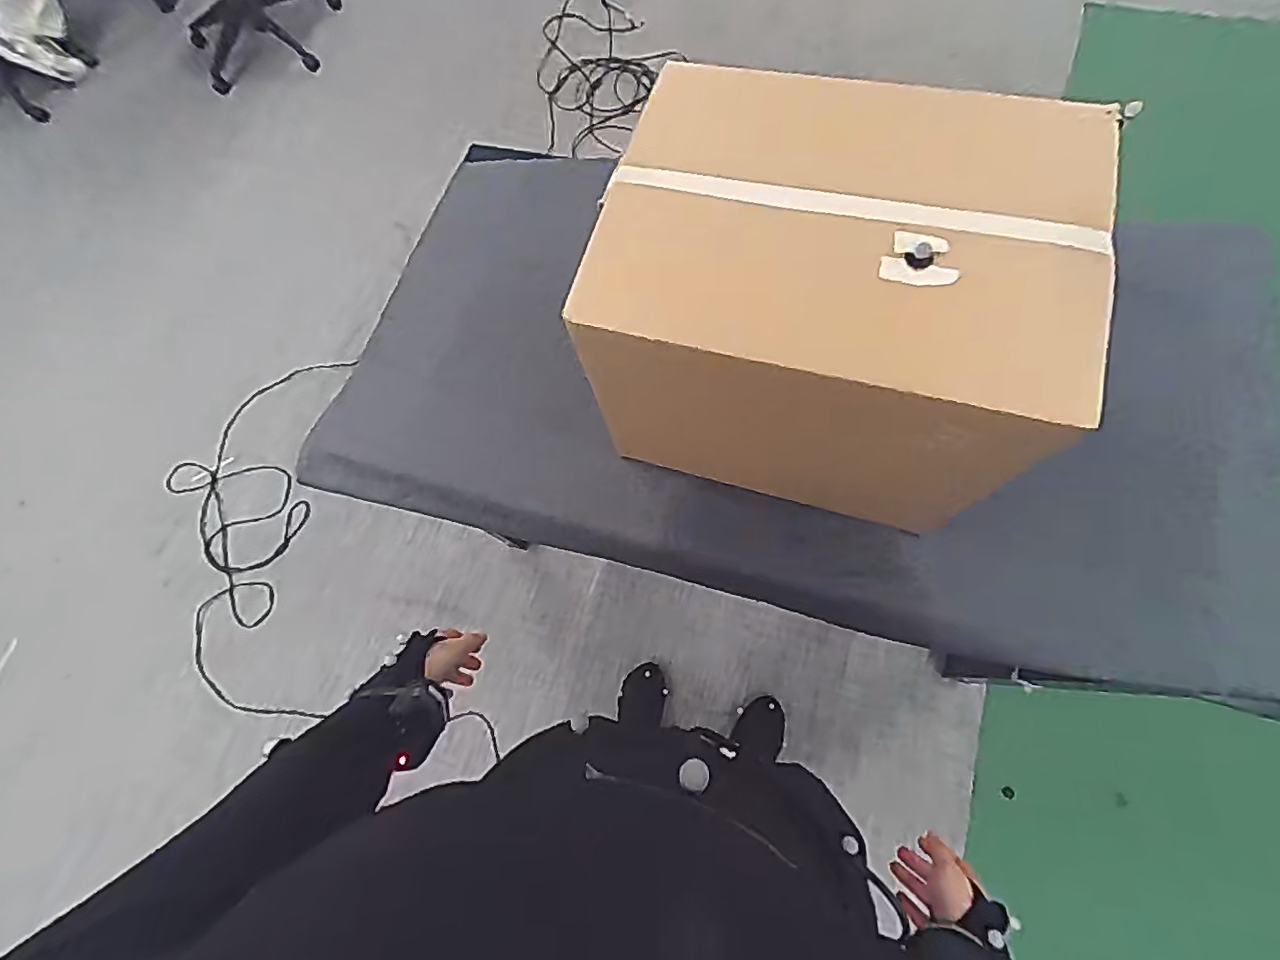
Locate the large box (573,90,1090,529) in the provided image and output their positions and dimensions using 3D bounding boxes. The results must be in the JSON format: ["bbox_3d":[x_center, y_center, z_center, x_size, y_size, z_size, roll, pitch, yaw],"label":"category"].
[{"bbox_3d":[0.184,-0.169,0.615,0.408,0.320,0.320,15,74,11],"label":"large box"}]
